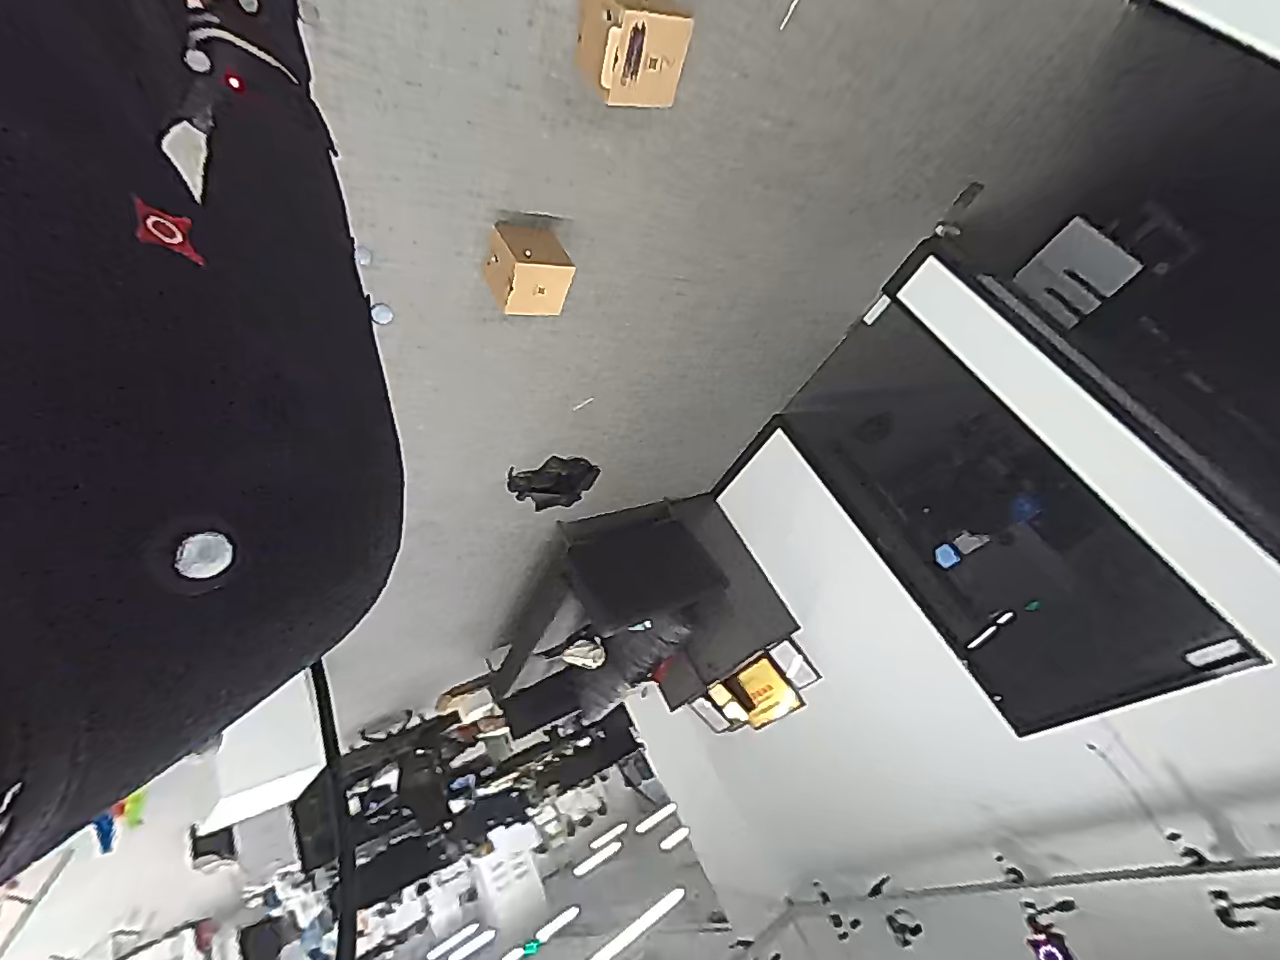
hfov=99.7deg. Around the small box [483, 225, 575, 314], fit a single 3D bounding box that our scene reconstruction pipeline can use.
[{"bbox_3d":[-0.310,-0.578,1.489,0.179,0.176,0.168,-12,150,-35],"label":"small box"}]
